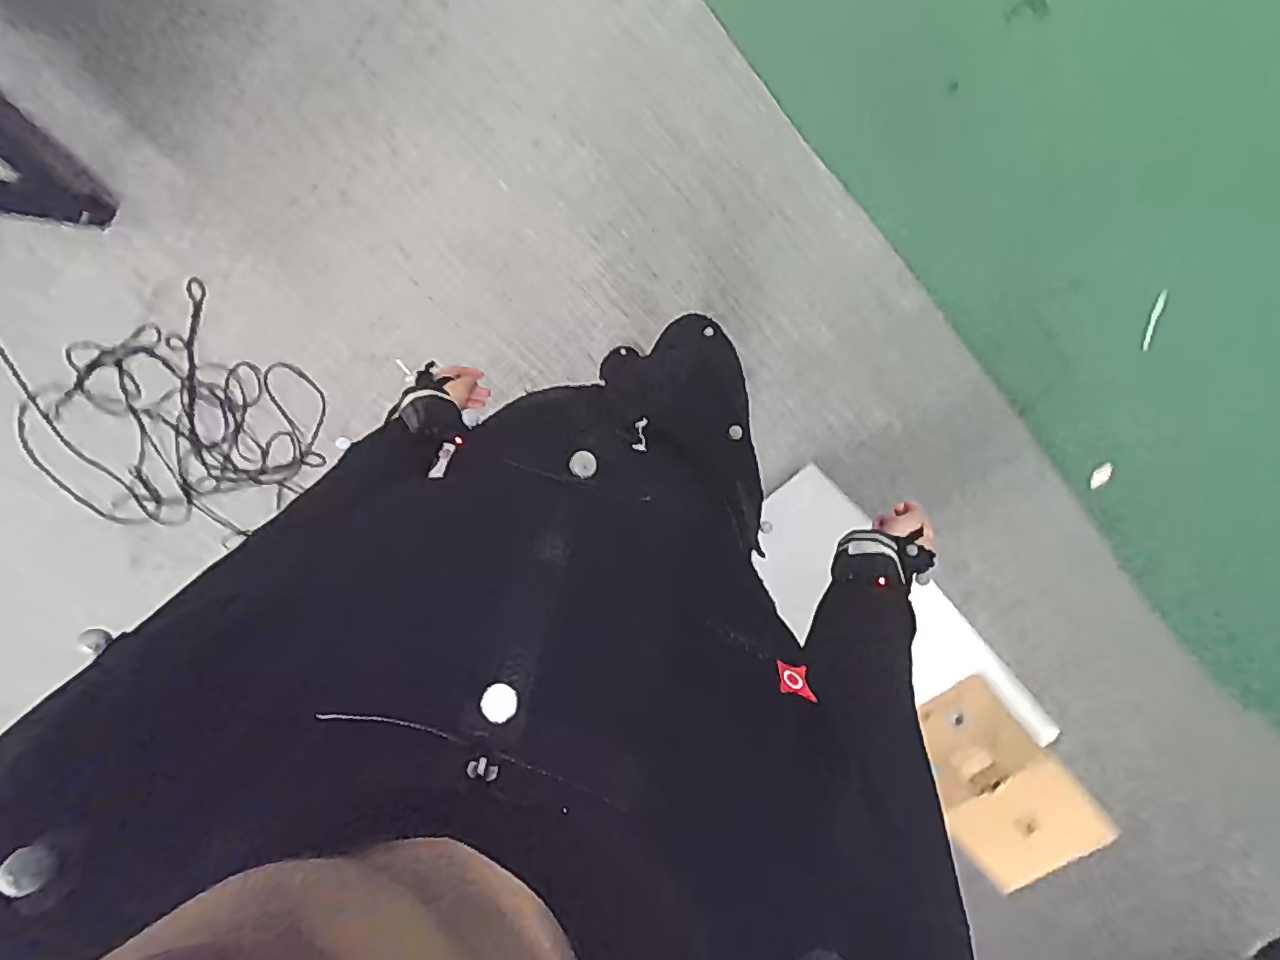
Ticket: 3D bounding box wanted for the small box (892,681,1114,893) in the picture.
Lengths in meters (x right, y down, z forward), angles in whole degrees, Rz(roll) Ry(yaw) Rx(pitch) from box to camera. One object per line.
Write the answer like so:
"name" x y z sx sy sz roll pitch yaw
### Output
"small box" 0.507 0.433 0.782 0.168 0.176 0.179 -40 101 13
